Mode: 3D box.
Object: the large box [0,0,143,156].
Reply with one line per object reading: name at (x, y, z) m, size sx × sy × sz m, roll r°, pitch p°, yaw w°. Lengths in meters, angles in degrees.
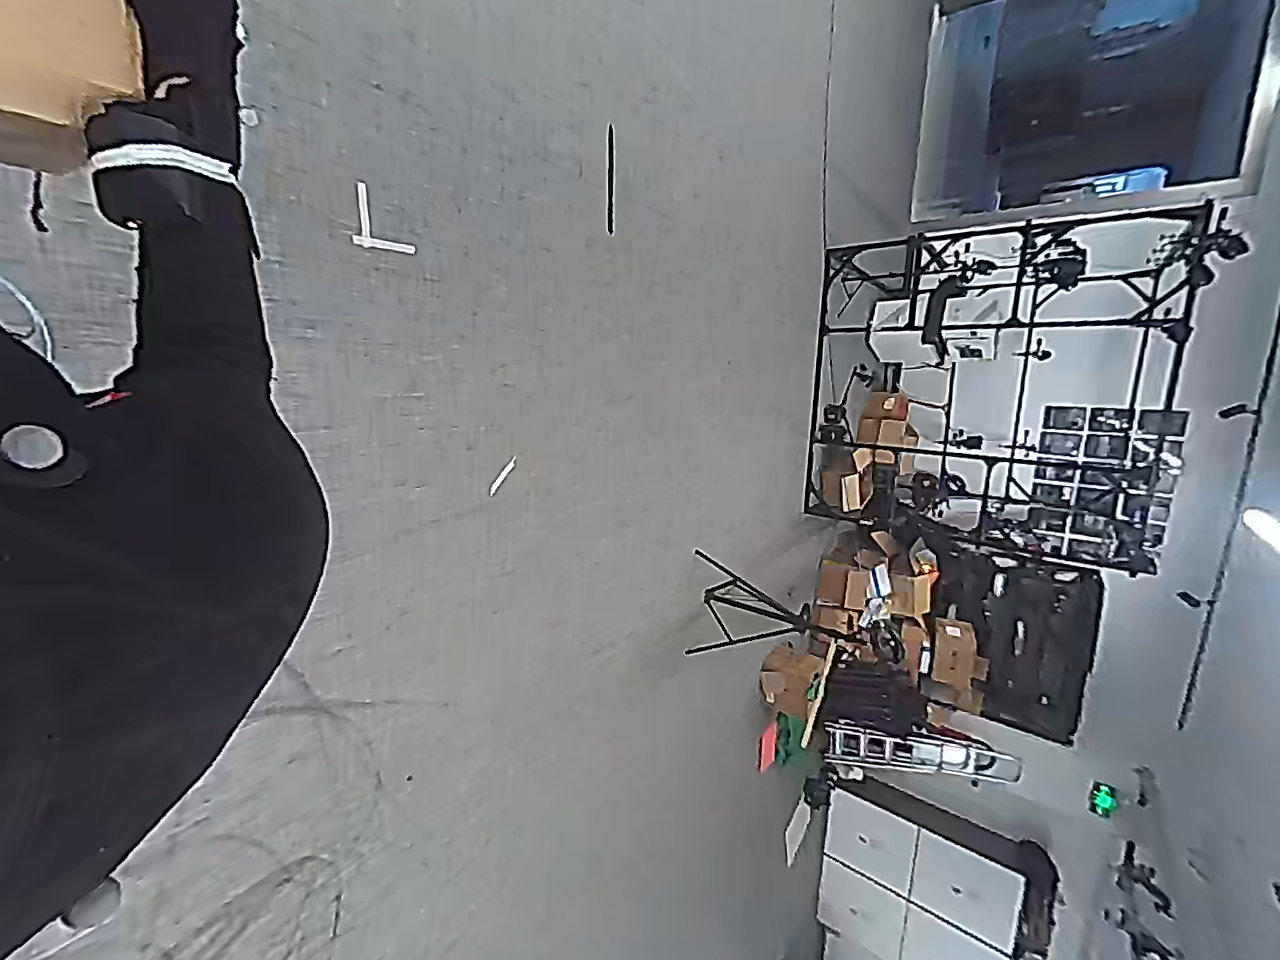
large box at (-0.575, -0.409, 0.275) m, size 0.408 × 0.320 × 0.320 m, roll -11°, pitch 115°, yaw -54°
